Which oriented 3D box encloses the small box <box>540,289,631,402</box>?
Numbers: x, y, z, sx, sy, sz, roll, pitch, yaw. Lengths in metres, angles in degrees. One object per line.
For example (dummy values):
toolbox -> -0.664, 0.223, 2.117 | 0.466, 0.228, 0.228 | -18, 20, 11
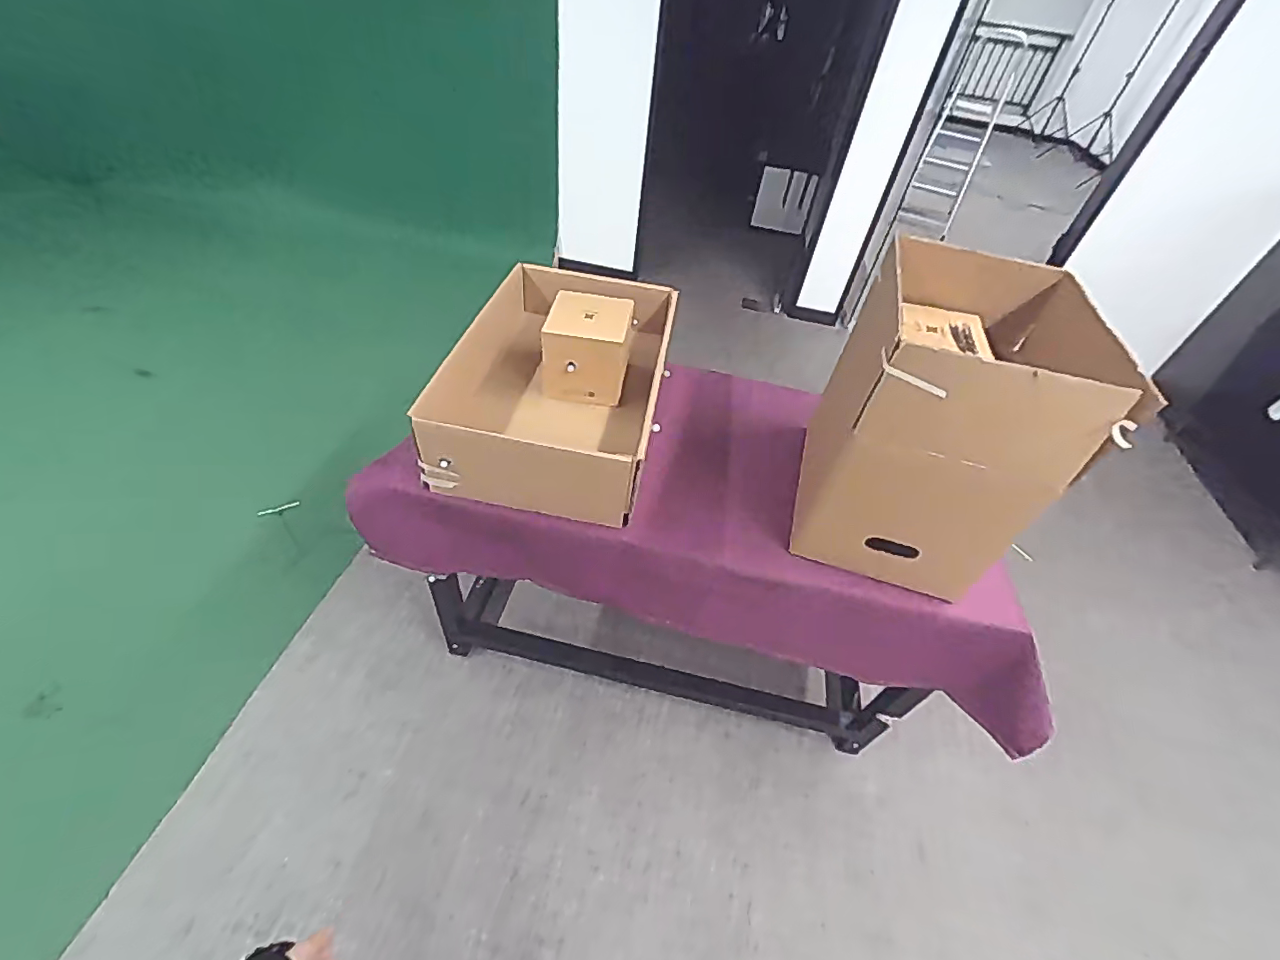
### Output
small box -> -0.114, -0.289, 1.176 | 0.168, 0.176, 0.179 | 8, 46, 1
